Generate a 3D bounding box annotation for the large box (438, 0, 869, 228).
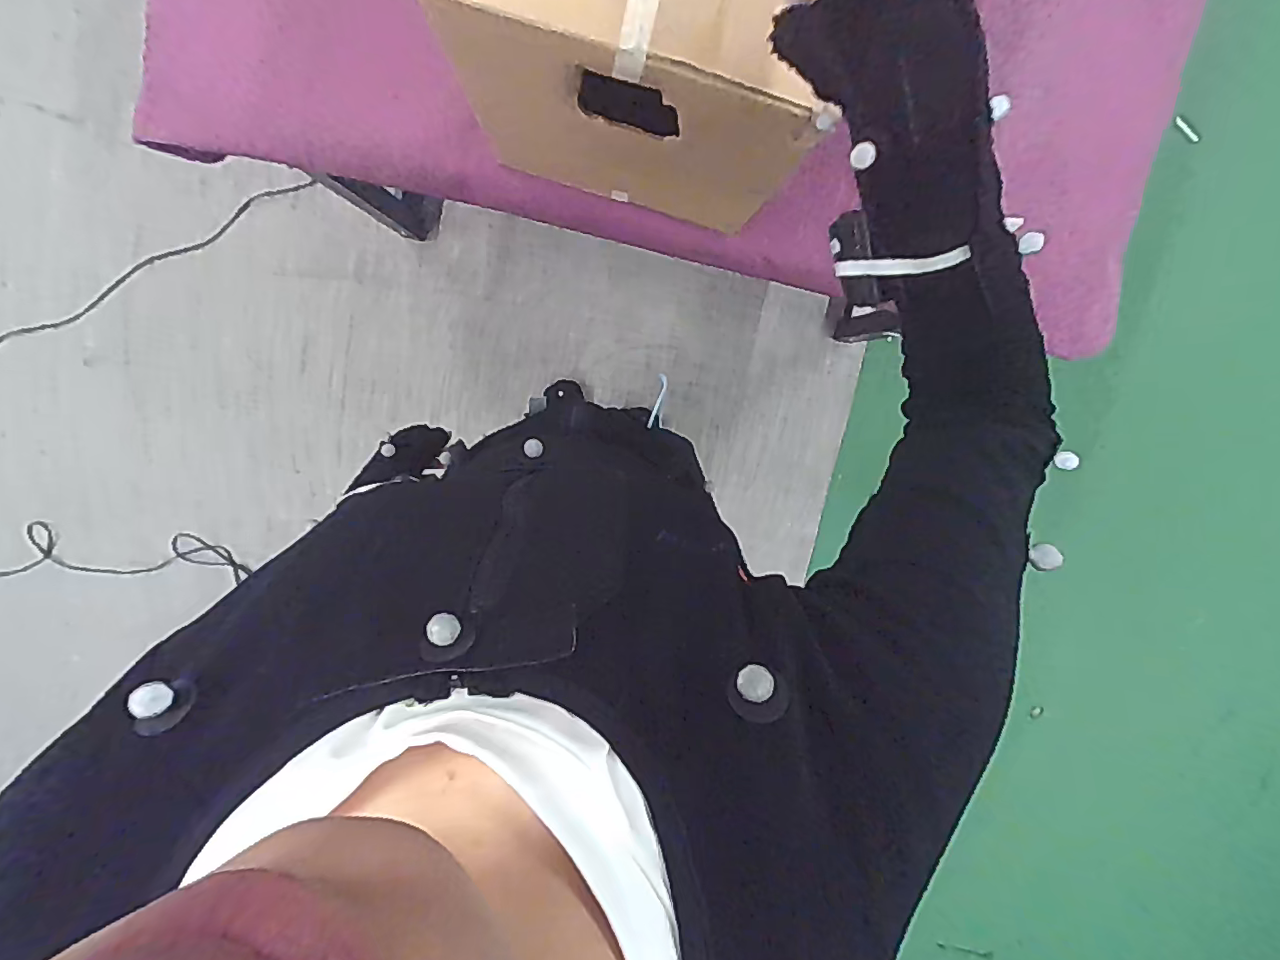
[{"bbox_3d":[0.038,-0.522,0.512,0.320,0.320,0.408,14,100,-6],"label":"large box"}]
